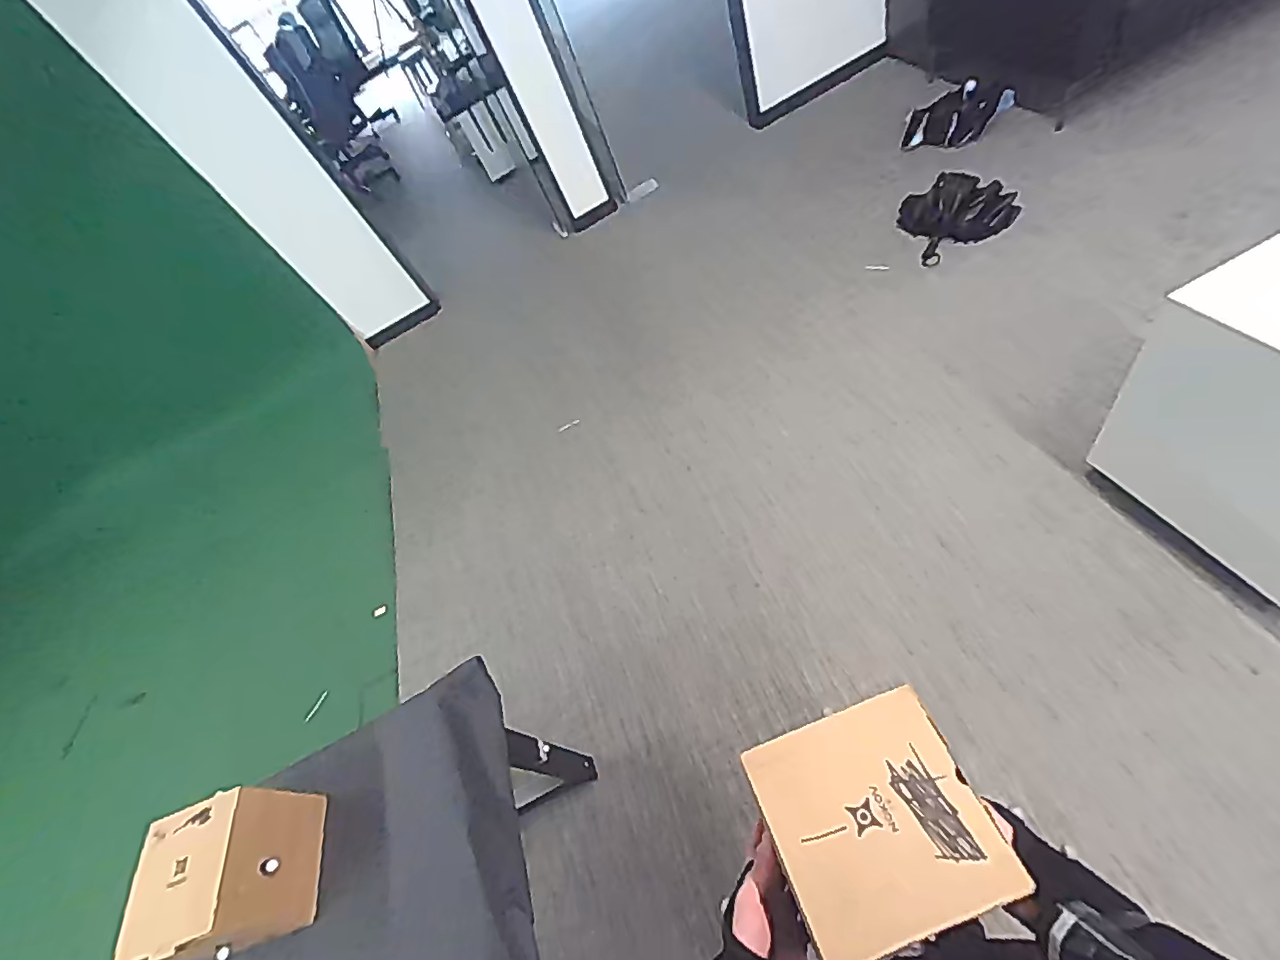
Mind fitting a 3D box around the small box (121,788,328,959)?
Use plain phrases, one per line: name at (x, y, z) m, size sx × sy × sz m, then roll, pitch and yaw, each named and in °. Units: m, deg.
small box at (-0.605, 0.590, 0.815) m, size 0.168 × 0.176 × 0.179 m, roll -23°, pitch 51°, yaw 6°
